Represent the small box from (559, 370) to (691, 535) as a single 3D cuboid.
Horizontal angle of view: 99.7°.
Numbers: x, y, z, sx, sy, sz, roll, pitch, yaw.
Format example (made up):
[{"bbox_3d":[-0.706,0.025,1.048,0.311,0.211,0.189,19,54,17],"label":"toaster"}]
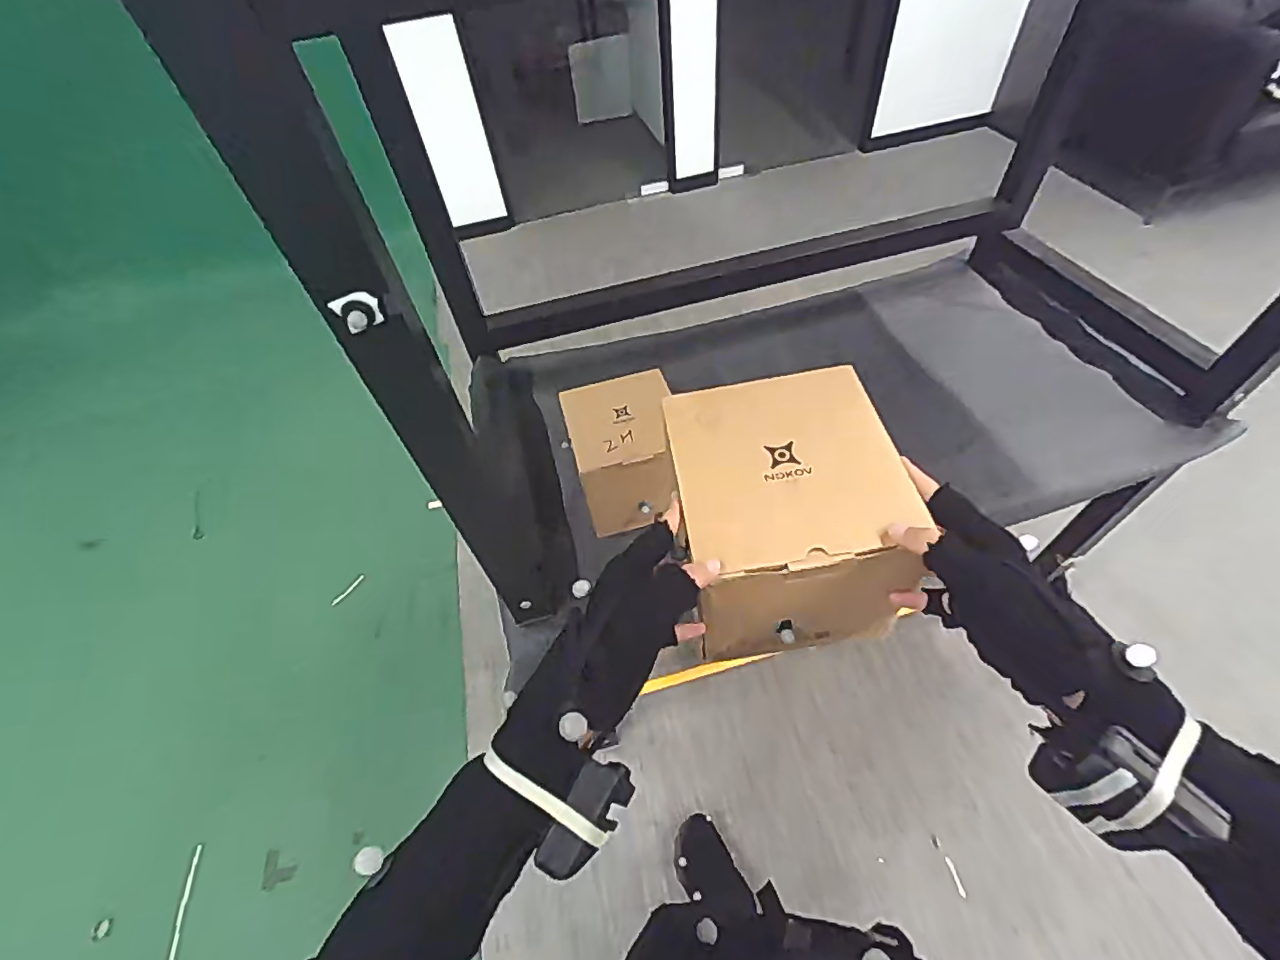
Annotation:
[{"bbox_3d":[-0.022,-0.043,0.858,0.168,0.176,0.179,-15,51,-5],"label":"small box"}]
